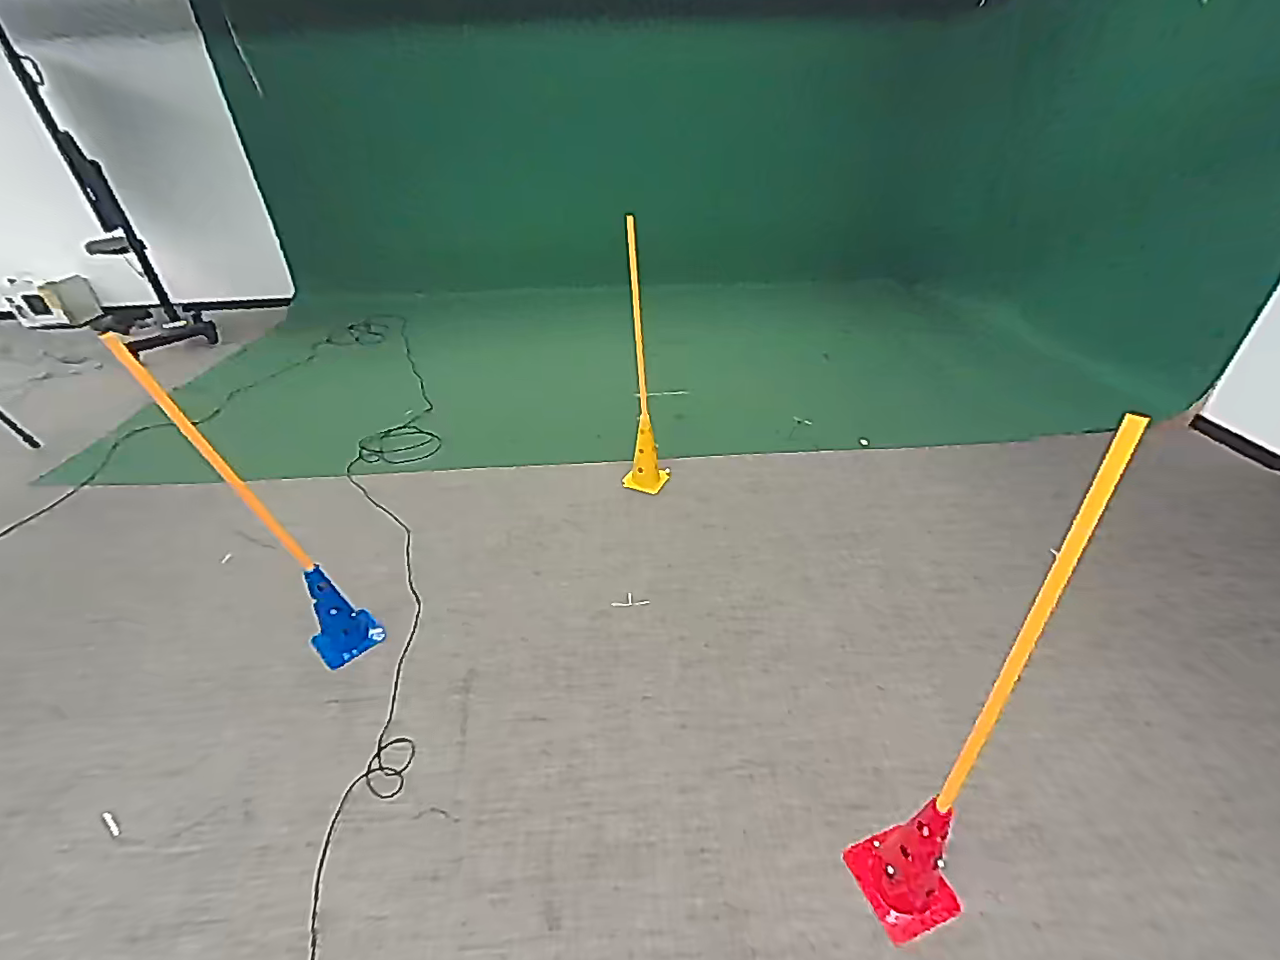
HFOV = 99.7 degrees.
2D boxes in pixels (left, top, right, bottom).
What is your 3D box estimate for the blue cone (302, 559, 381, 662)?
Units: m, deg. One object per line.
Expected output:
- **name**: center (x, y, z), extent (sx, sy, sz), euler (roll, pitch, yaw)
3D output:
- **blue cone**: center (-1.042, 0.414, 1.820), extent (0.192, 0.380, 0.193), euler (27, 46, 33)
